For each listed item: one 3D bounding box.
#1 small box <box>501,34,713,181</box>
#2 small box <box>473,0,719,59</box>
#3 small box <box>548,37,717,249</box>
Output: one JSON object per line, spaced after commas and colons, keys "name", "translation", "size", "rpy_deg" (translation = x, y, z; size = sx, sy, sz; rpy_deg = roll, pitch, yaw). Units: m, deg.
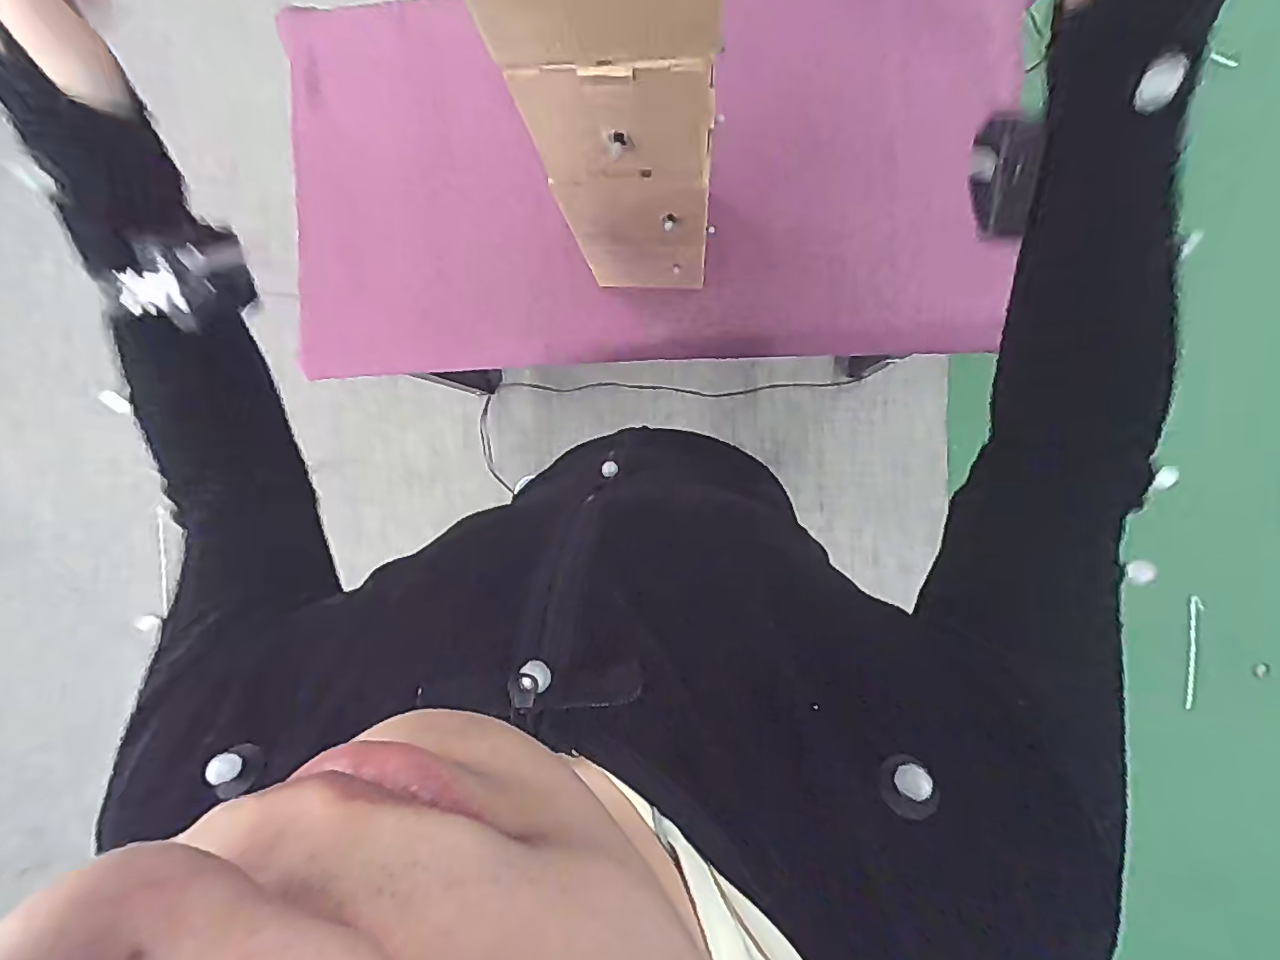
{"name": "small box", "translation": [-0.018, -0.402, 0.499], "size": [0.168, 0.176, 0.179], "rpy_deg": [3, 91, 5]}
{"name": "small box", "translation": [-0.033, -0.403, 0.335], "size": [0.179, 0.176, 0.168], "rpy_deg": [1, 90, 4]}
{"name": "small box", "translation": [-0.002, -0.398, 0.661], "size": [0.179, 0.176, 0.168], "rpy_deg": [4, 91, 6]}
